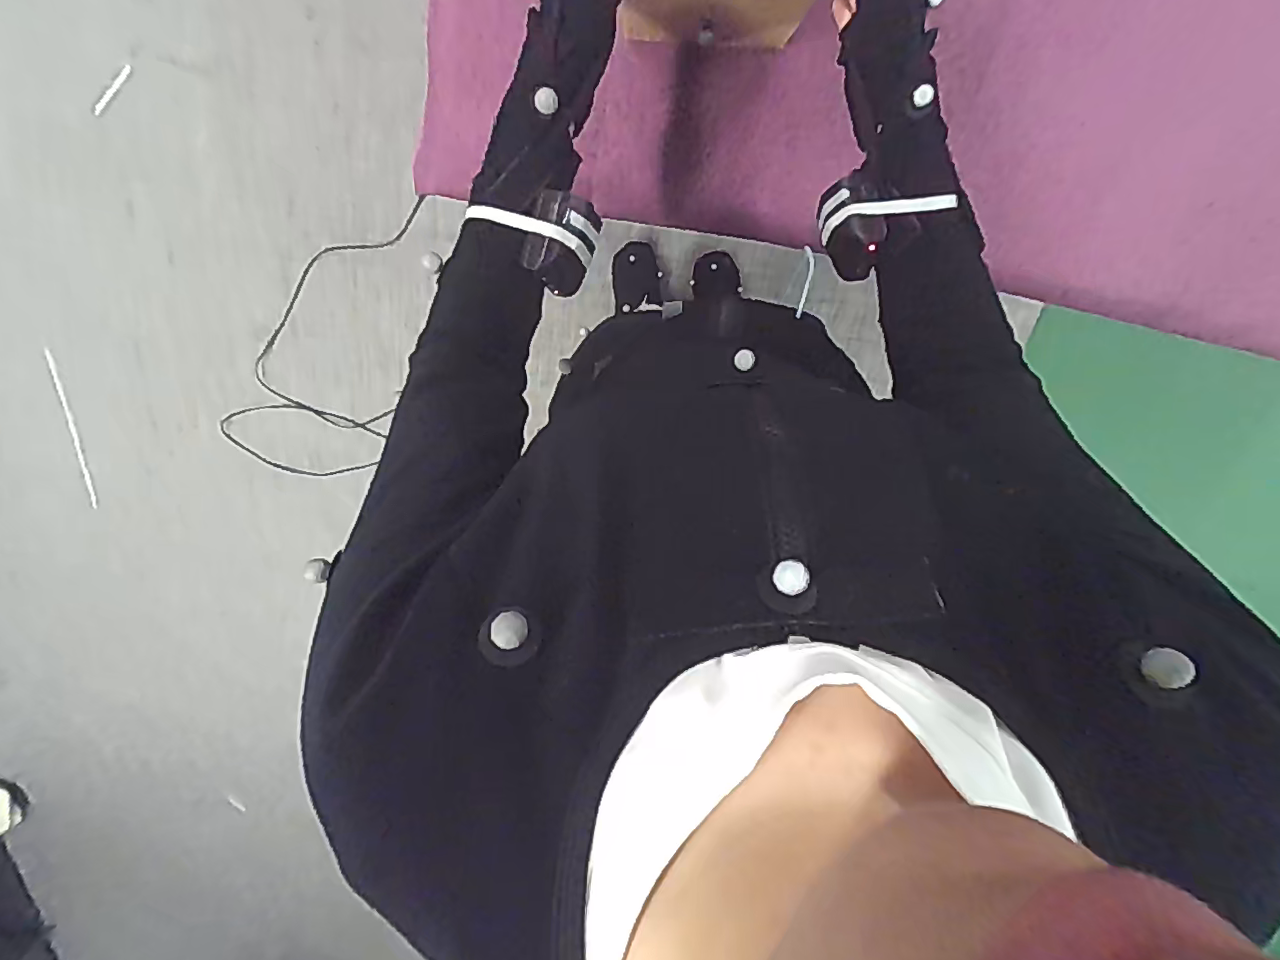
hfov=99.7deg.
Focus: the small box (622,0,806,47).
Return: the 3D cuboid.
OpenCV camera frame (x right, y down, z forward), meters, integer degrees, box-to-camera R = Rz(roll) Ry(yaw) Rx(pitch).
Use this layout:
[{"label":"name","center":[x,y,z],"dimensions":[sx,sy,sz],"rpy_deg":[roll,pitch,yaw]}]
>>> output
[{"label":"small box","center":[0.065,-0.496,0.443],"dimensions":[0.168,0.176,0.179],"rpy_deg":[4,114,0]}]
